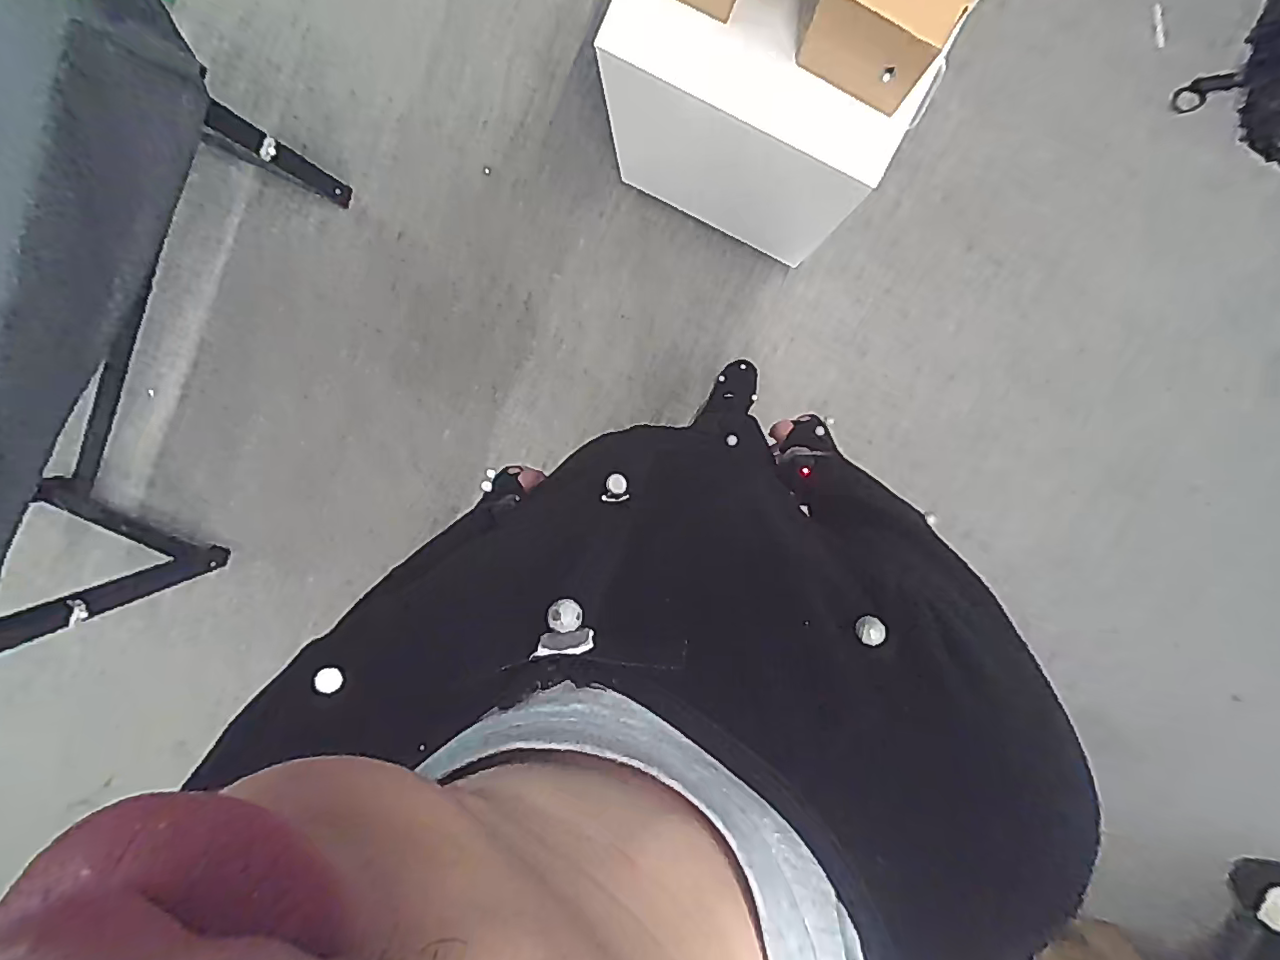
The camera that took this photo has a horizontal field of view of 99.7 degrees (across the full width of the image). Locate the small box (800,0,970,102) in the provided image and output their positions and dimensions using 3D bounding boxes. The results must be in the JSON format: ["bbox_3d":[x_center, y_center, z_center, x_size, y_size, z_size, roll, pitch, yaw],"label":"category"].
[{"bbox_3d":[0.350,-0.670,0.746,0.179,0.176,0.168,28,98,0],"label":"small box"}]
